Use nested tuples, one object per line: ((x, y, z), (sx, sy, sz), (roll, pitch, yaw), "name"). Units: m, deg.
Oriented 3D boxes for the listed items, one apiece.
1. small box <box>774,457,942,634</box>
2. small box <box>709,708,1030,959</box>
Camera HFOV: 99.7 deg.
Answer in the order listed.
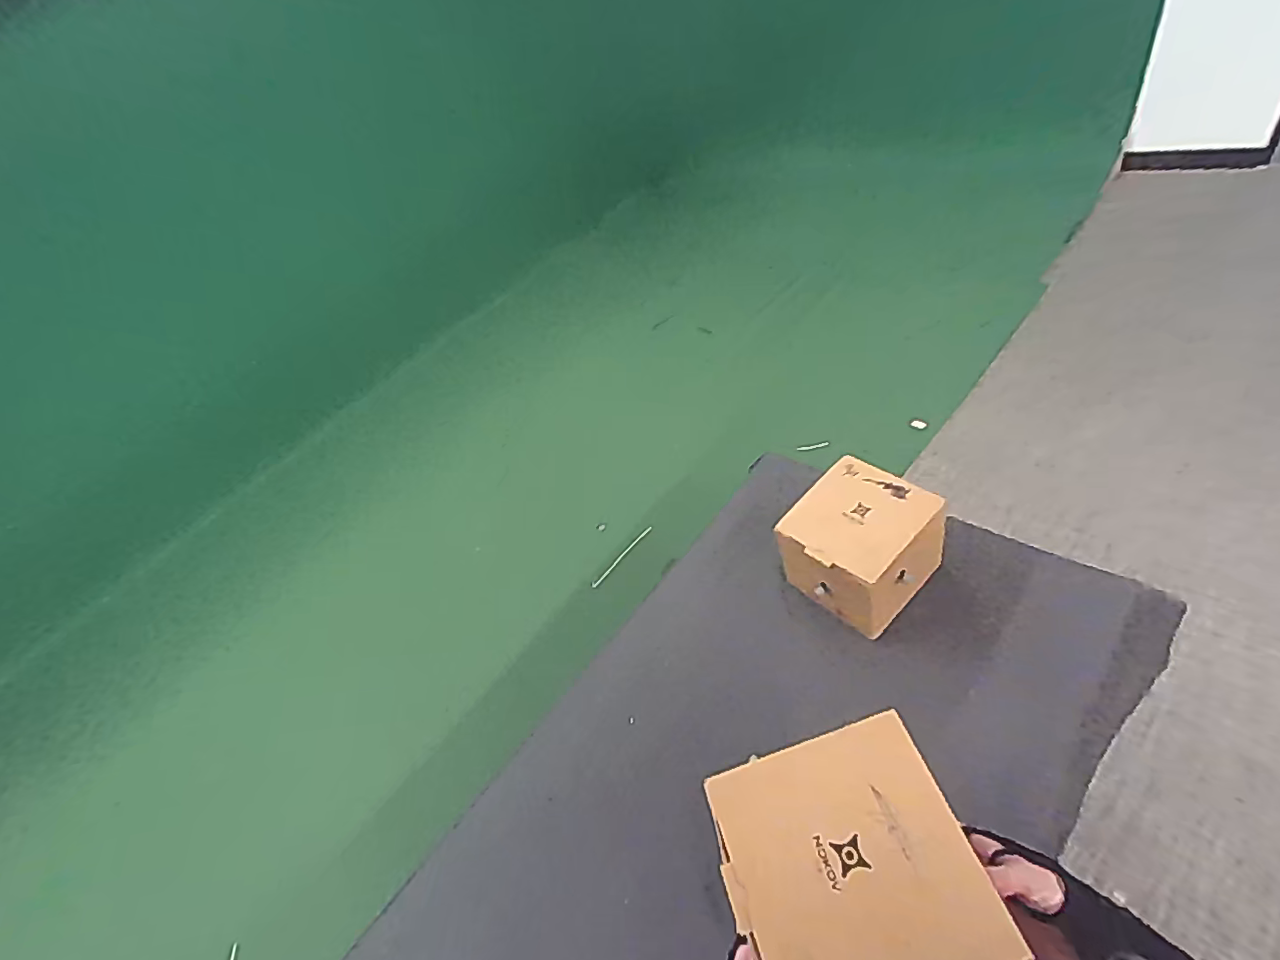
((0.337, 0.103, 0.834), (0.179, 0.176, 0.168), (-42, 46, -14), "small box")
((0.181, 0.326, 0.471), (0.179, 0.176, 0.168), (-22, 53, 3), "small box")
